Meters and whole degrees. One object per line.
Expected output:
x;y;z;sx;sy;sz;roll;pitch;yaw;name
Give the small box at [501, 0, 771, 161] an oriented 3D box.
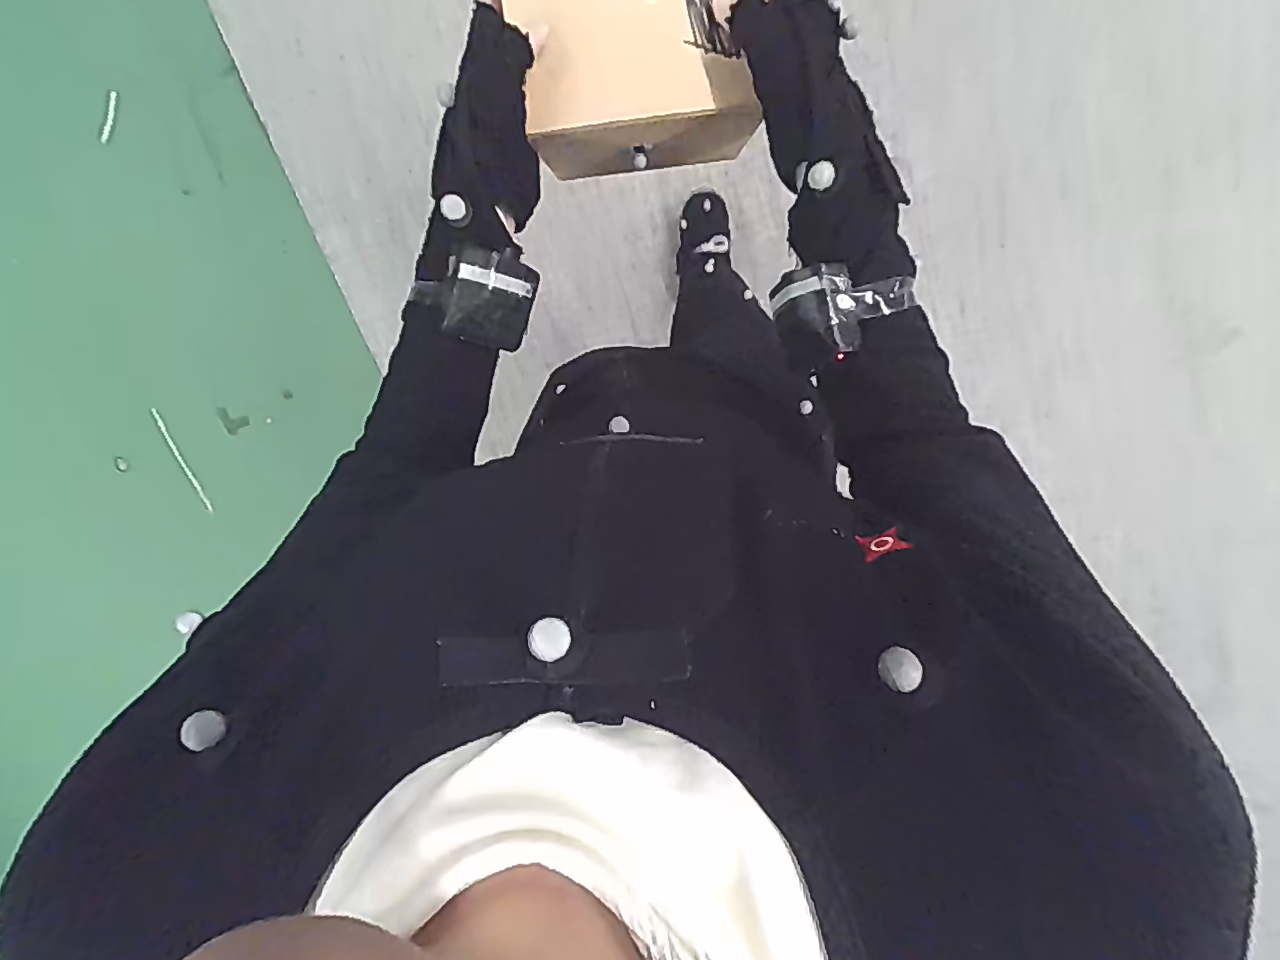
-0.004;-0.360;0.415;0.179;0.176;0.168;-3;108;2;small box
